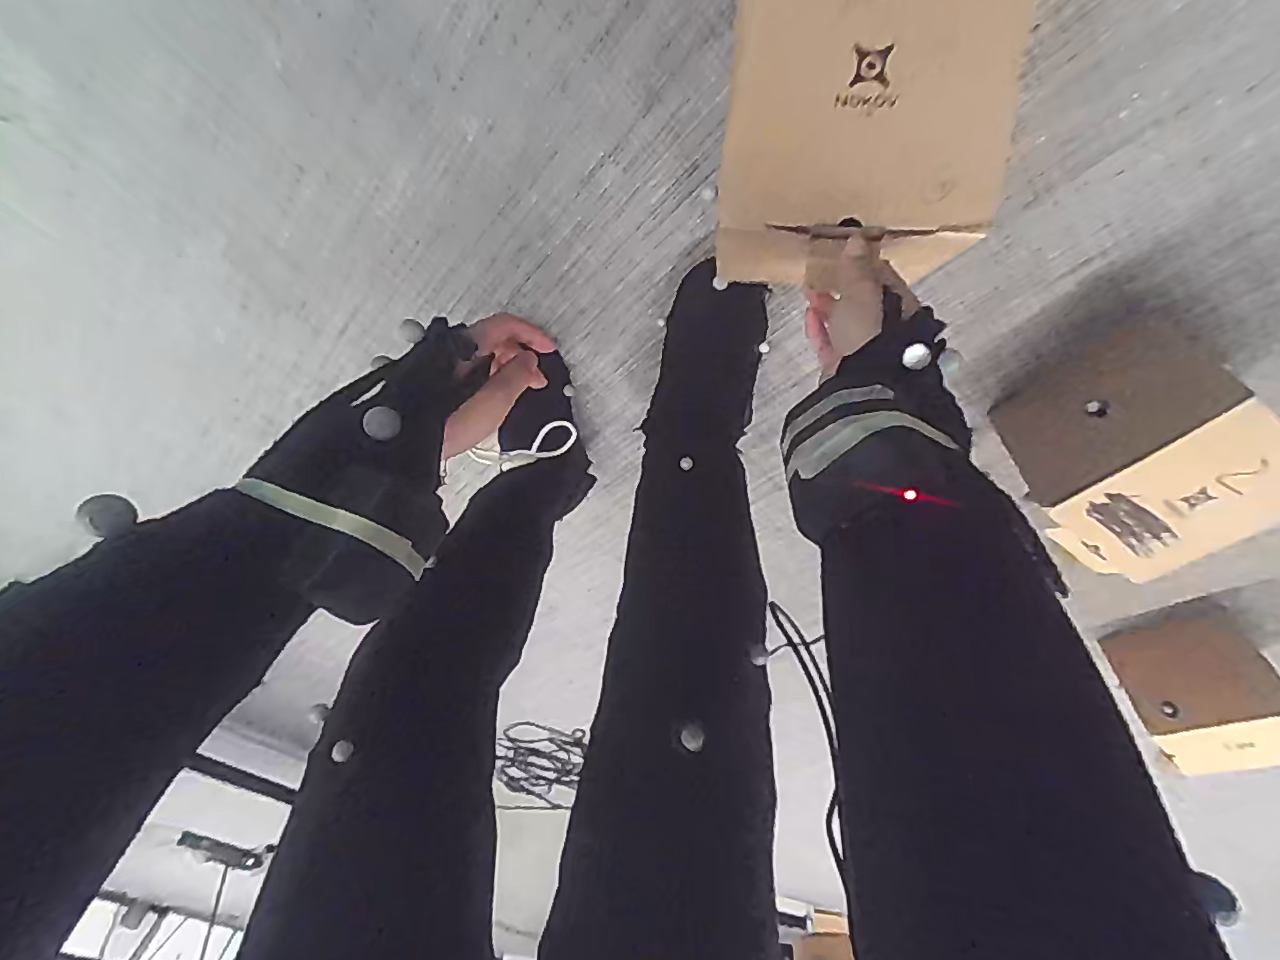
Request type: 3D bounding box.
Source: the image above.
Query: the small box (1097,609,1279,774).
[{"bbox_3d":[0.869,0.325,0.835,0.168,0.176,0.179,38,128,-23],"label":"small box"}]

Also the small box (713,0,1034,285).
[{"bbox_3d":[0.147,-0.249,0.394,0.168,0.176,0.179,6,98,8],"label":"small box"}]
